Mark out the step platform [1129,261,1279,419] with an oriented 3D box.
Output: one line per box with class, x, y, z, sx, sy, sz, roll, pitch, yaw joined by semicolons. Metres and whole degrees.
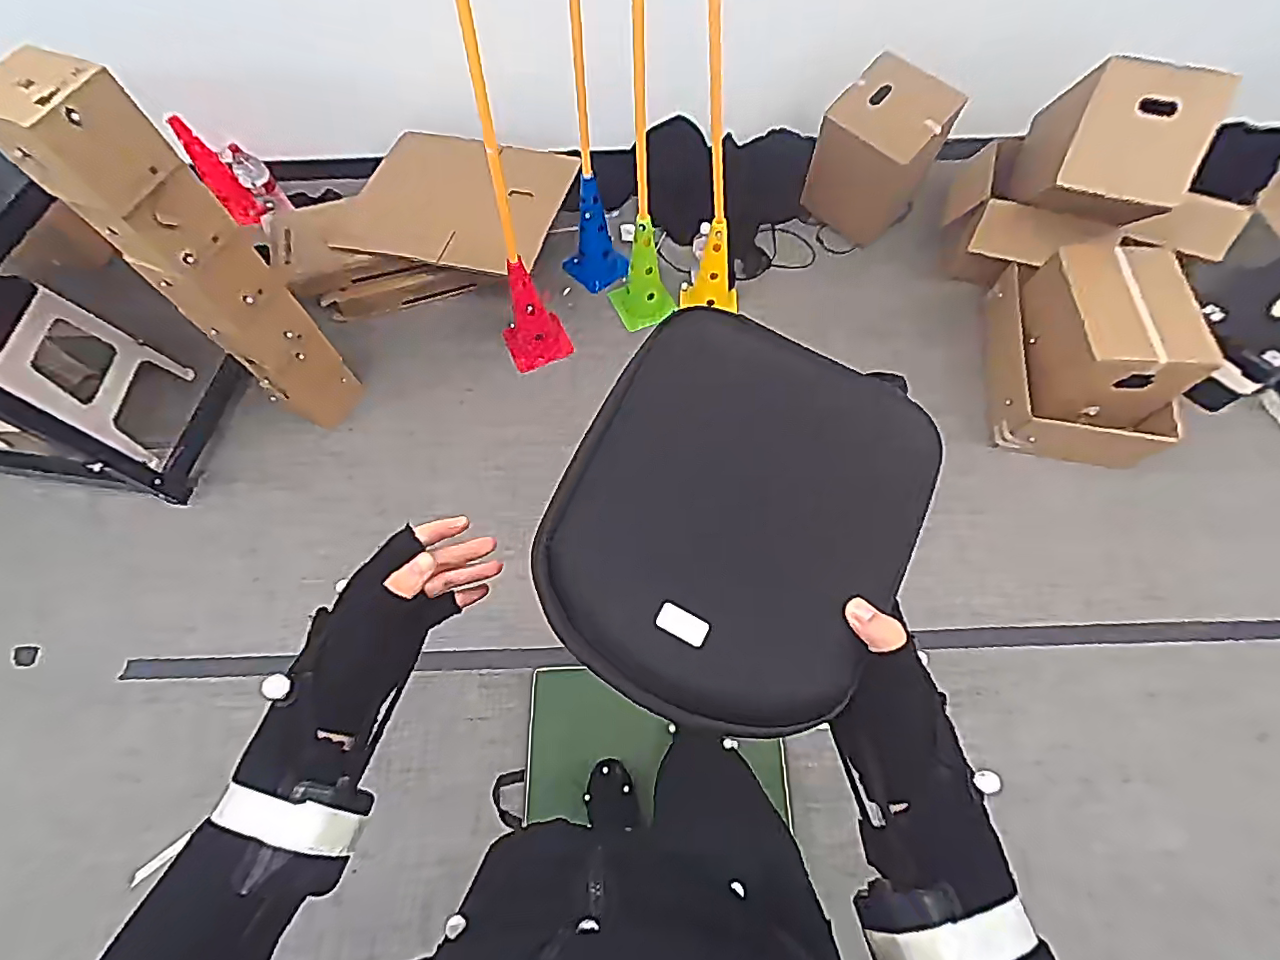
step platform;1.961;-0.472;1.732;0.684;0.204;0.286;-28;67;-12
